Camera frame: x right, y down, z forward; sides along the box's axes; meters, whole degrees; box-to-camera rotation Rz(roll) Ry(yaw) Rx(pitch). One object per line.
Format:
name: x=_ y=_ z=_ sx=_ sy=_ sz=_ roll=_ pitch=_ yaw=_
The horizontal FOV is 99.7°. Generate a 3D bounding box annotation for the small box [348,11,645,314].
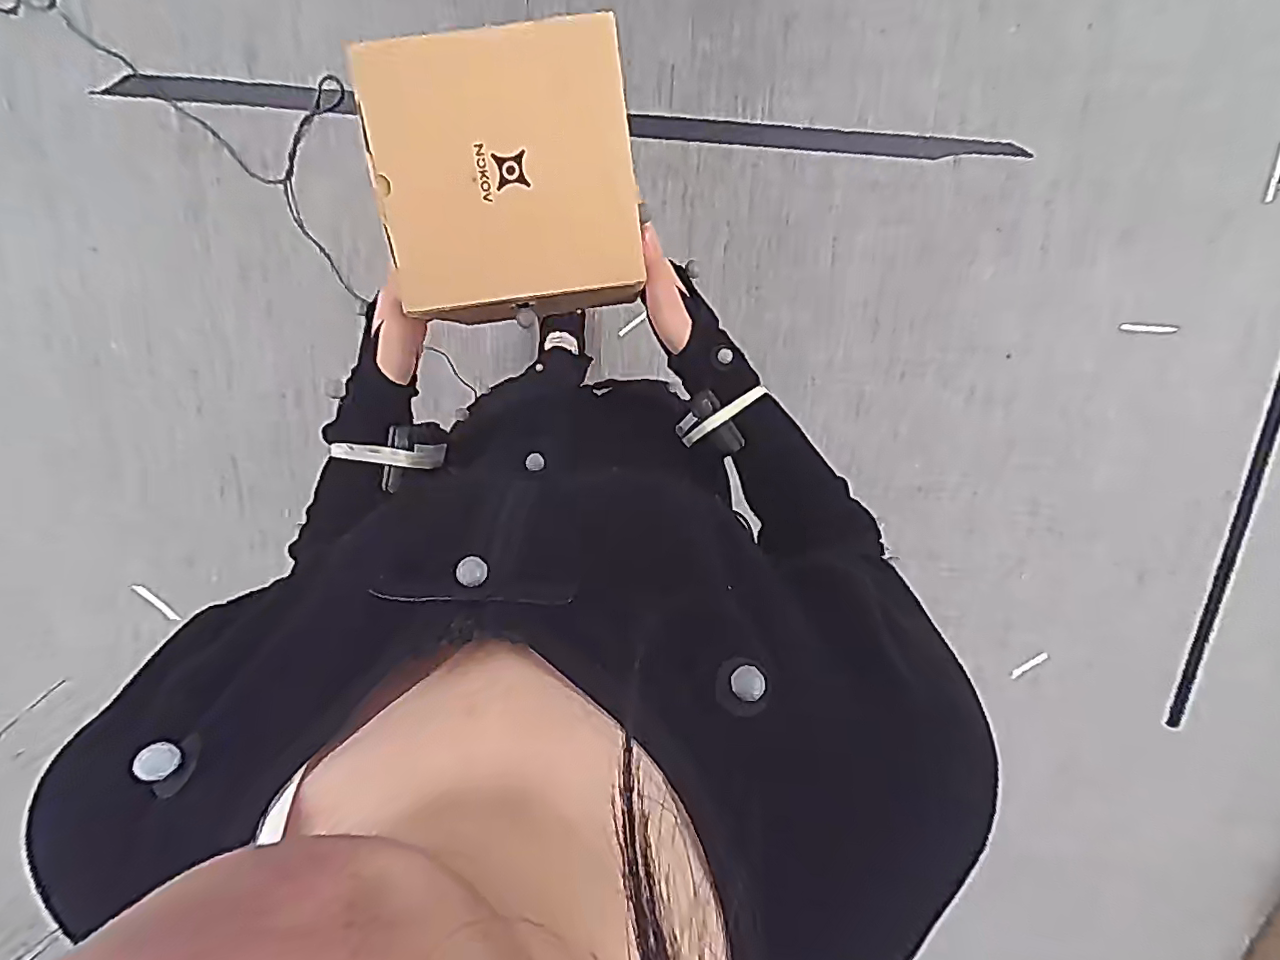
small box: x=-0.094 y=-0.231 z=0.441 sx=0.179 sy=0.176 sz=0.168 roll=-7 pitch=105 yaw=1
